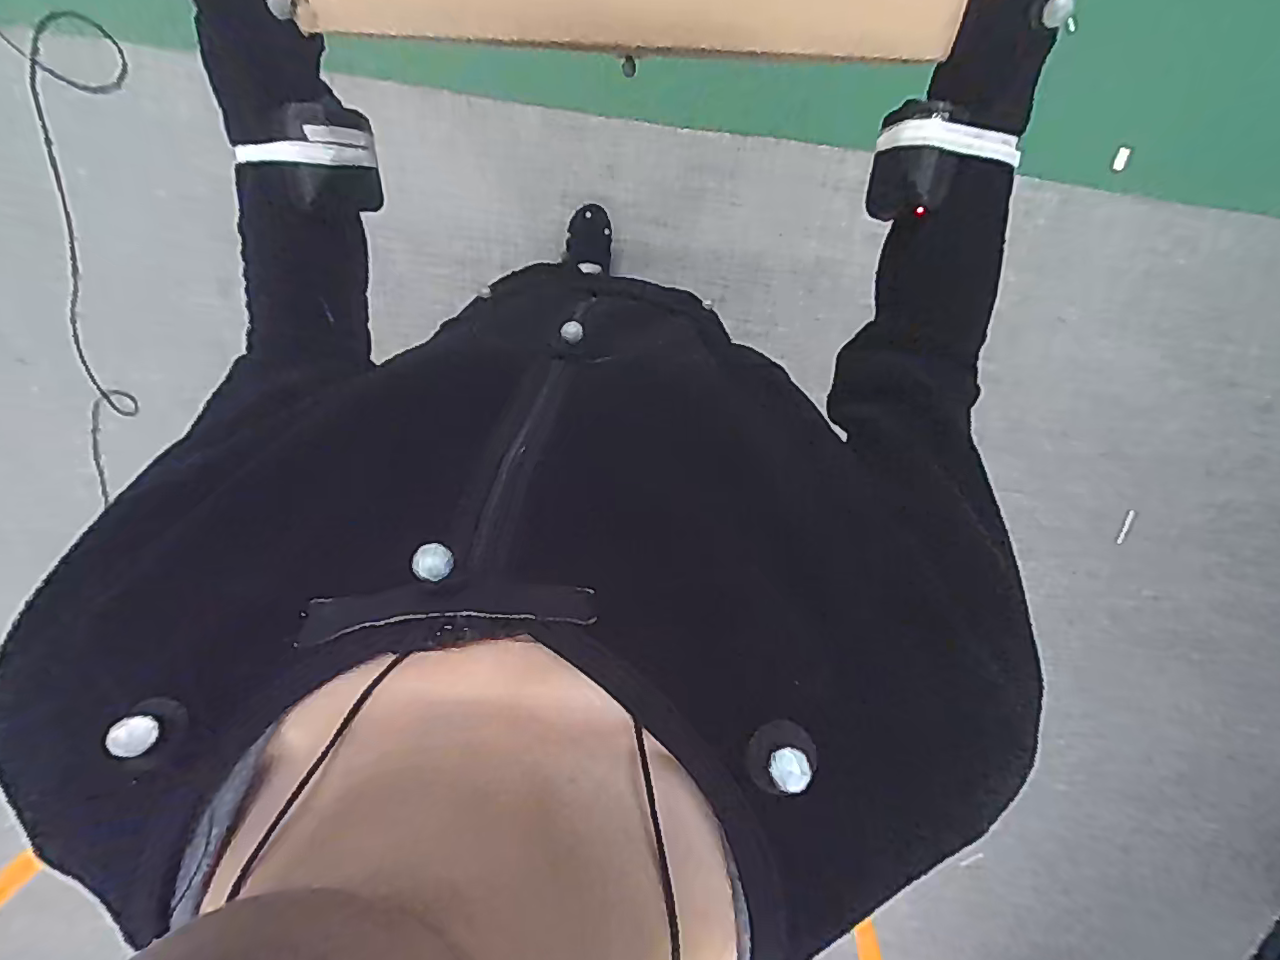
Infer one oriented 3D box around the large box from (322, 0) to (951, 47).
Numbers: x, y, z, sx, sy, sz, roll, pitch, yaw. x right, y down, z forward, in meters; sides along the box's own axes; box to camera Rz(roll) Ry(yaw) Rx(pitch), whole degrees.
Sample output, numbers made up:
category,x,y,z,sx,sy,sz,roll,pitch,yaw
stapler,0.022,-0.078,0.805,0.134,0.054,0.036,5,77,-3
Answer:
category,x,y,z,sx,sy,sz,roll,pitch,yaw
large box,0.002,-0.502,0.367,0.408,0.320,0.320,1,128,-2
